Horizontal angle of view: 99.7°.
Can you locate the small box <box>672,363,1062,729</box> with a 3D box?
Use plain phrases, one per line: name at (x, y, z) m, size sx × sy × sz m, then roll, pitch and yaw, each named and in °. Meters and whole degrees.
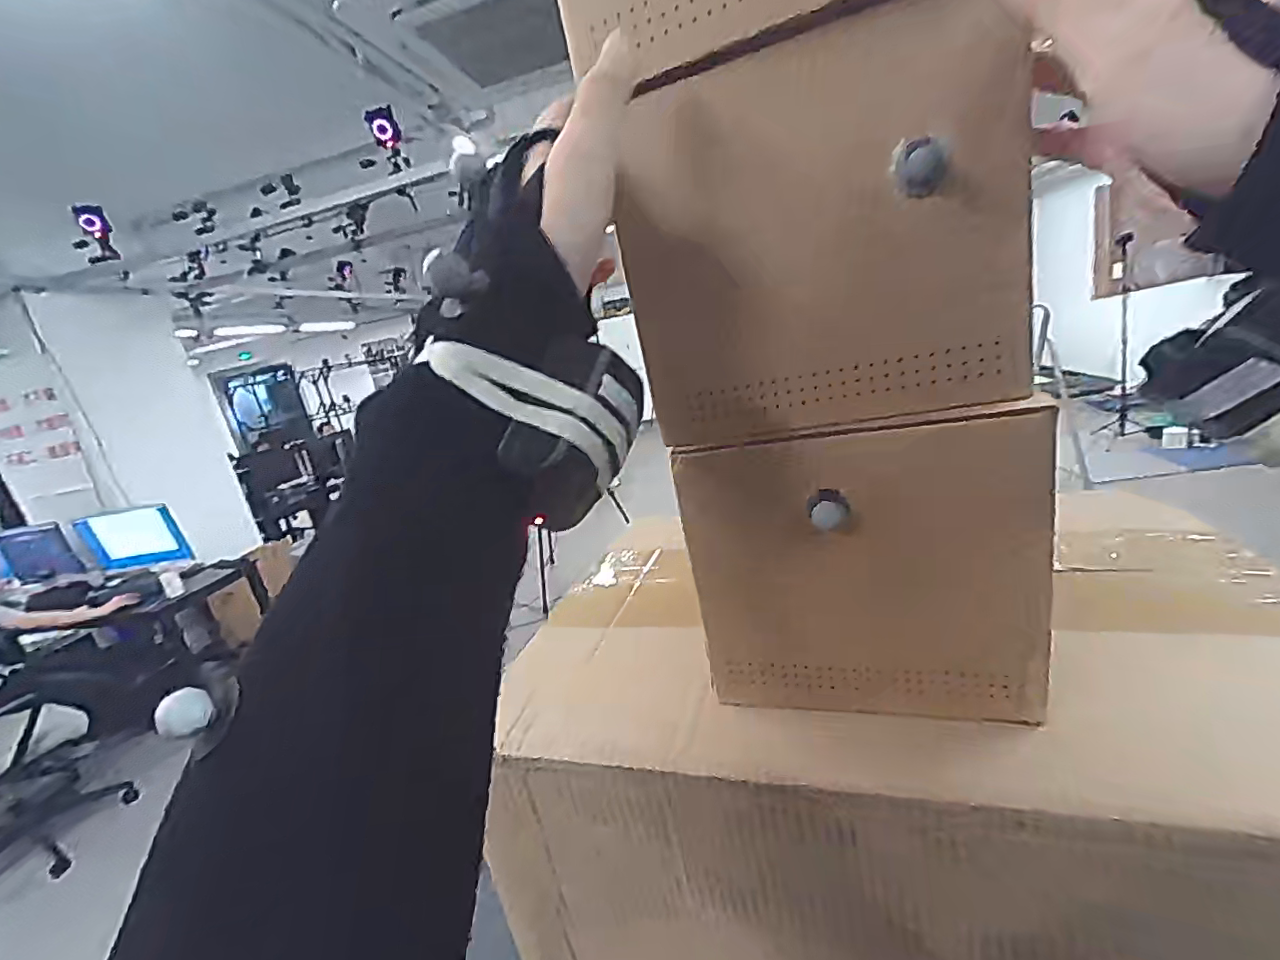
small box at (0.139, 0.034, 0.351) m, size 0.179 × 0.176 × 0.168 m, roll -6°, pitch 18°, yaw 22°
